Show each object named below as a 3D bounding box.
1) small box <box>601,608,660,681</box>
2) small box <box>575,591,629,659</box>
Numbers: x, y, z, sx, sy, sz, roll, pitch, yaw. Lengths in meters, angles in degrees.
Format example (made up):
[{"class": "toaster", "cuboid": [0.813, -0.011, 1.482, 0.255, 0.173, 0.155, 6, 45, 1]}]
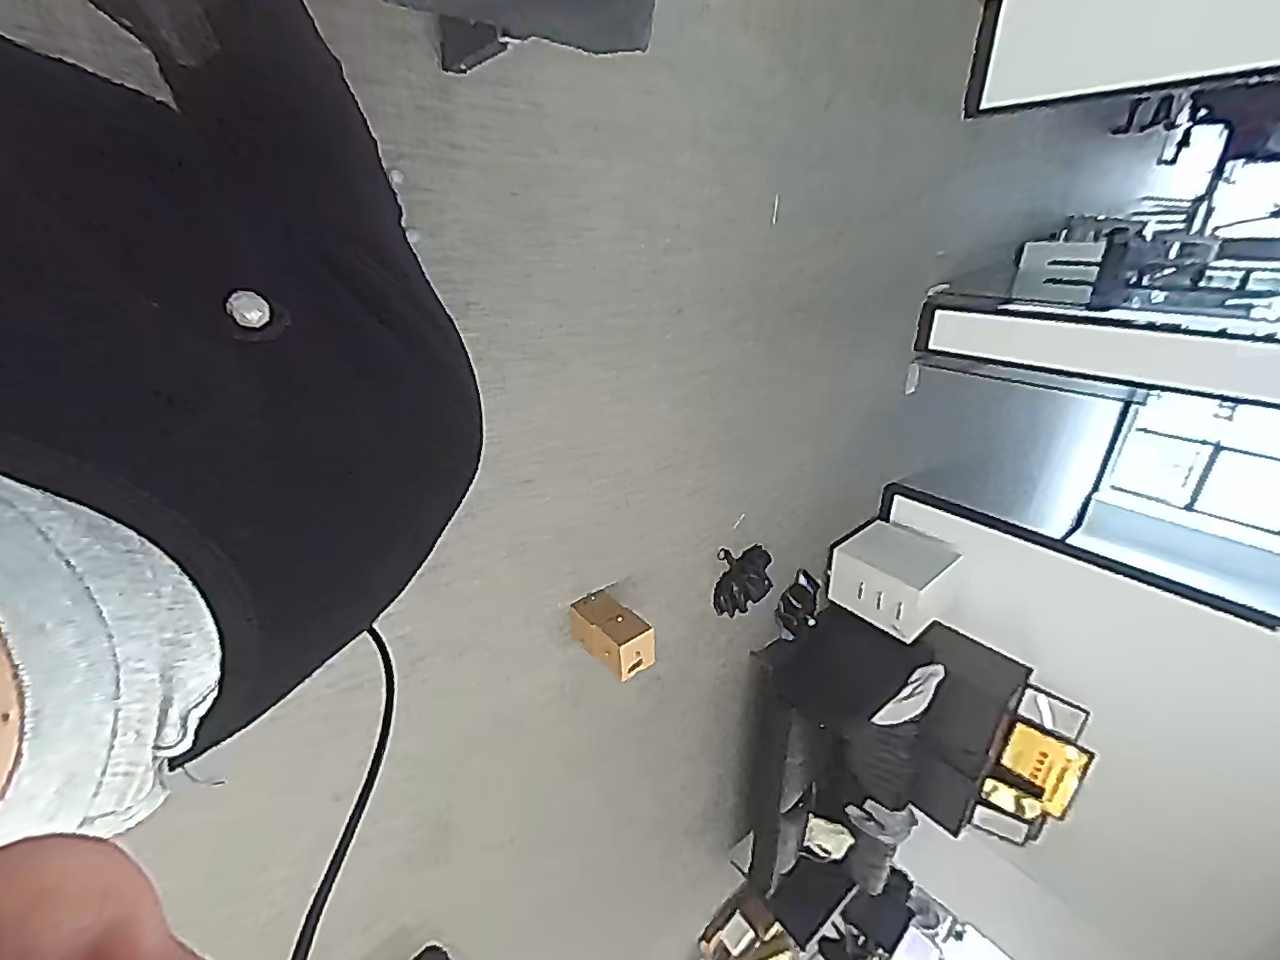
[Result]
[{"class": "small box", "cuboid": [-0.039, 0.635, 2.103, 0.168, 0.176, 0.179, -21, 121, -35]}, {"class": "small box", "cuboid": [-0.149, 0.589, 2.217, 0.168, 0.176, 0.179, -23, 121, -34]}]
